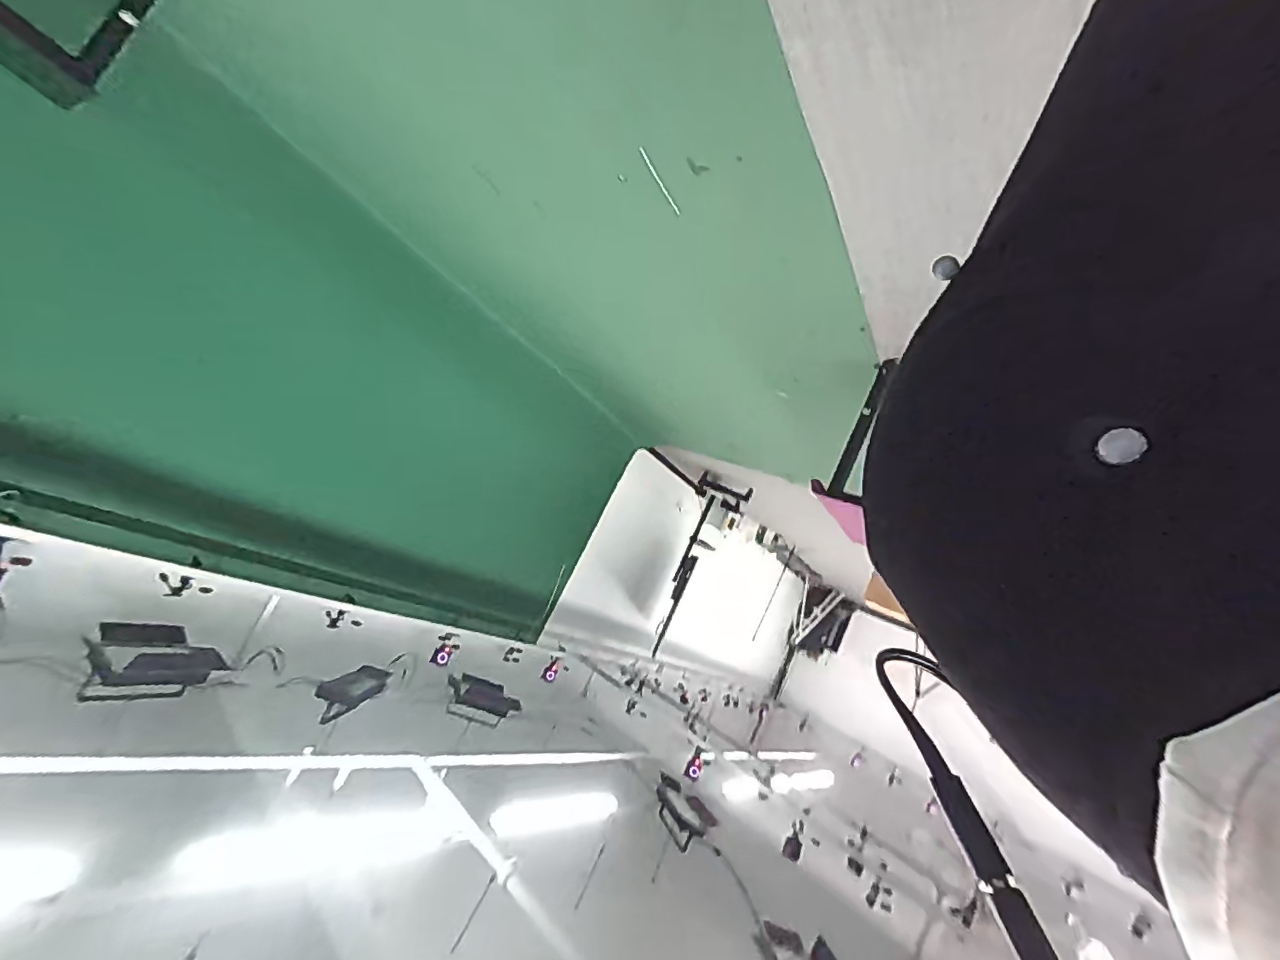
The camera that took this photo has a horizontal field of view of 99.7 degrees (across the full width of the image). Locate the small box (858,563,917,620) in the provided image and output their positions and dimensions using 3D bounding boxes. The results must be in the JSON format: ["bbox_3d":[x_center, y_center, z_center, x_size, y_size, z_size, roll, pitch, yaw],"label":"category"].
[{"bbox_3d":[1.023,0.455,2.229,0.168,0.176,0.179,19,171,38],"label":"small box"}]
